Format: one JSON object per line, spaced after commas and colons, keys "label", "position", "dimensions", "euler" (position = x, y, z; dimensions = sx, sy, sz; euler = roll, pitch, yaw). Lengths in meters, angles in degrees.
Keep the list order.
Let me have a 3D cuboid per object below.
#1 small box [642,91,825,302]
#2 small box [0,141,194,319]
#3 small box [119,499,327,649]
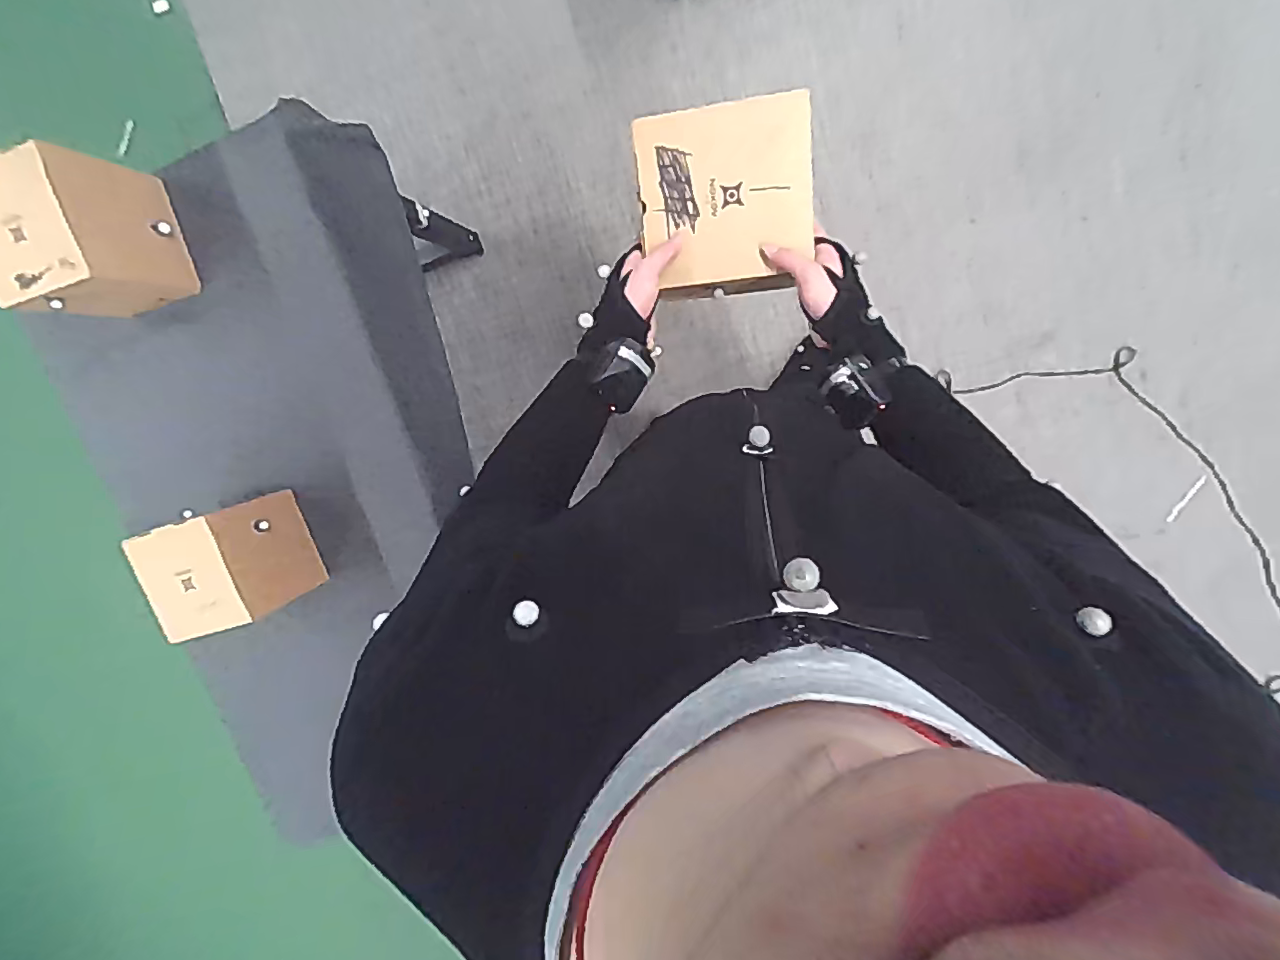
{"label": "small box", "position": [0.104, -0.300, 0.613], "dimensions": [0.179, 0.176, 0.168], "euler": [-4, 104, 8]}
{"label": "small box", "position": [-0.814, -0.345, 0.783], "dimensions": [0.168, 0.176, 0.179], "euler": [-12, 101, 10]}
{"label": "small box", "position": [-0.660, 0.141, 0.878], "dimensions": [0.168, 0.176, 0.179], "euler": [-16, 101, 12]}
